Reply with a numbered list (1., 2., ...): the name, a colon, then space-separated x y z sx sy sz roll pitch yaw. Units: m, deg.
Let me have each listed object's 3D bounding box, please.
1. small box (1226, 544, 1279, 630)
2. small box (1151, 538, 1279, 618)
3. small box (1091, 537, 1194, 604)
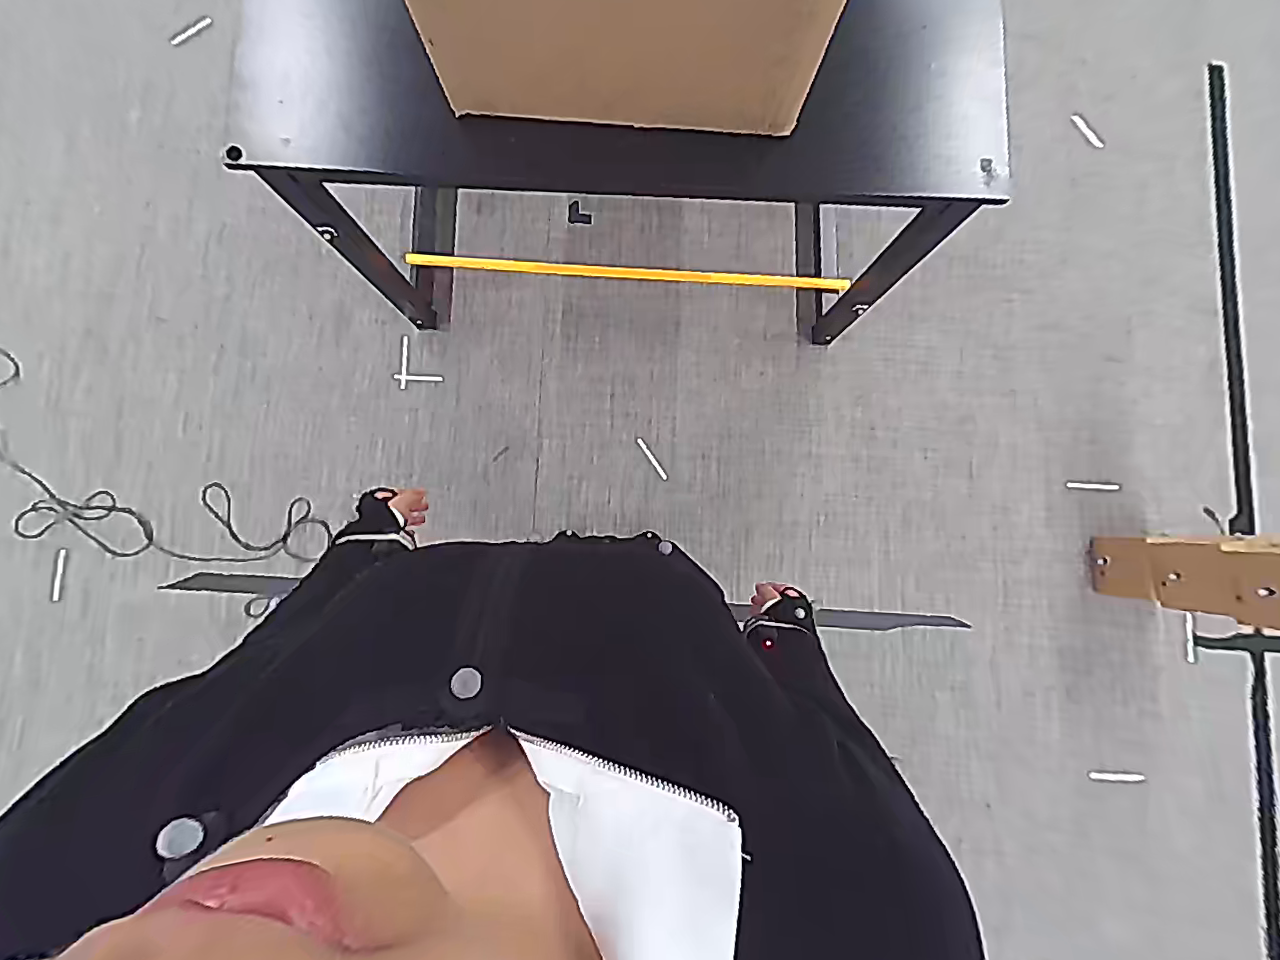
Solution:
1. small box: 1.389 0.222 1.123 0.179 0.176 0.168 -7 84 -2
2. small box: 1.388 0.226 1.287 0.179 0.176 0.168 -6 84 -2
3. small box: 1.371 0.238 1.452 0.179 0.176 0.168 -1 84 0
